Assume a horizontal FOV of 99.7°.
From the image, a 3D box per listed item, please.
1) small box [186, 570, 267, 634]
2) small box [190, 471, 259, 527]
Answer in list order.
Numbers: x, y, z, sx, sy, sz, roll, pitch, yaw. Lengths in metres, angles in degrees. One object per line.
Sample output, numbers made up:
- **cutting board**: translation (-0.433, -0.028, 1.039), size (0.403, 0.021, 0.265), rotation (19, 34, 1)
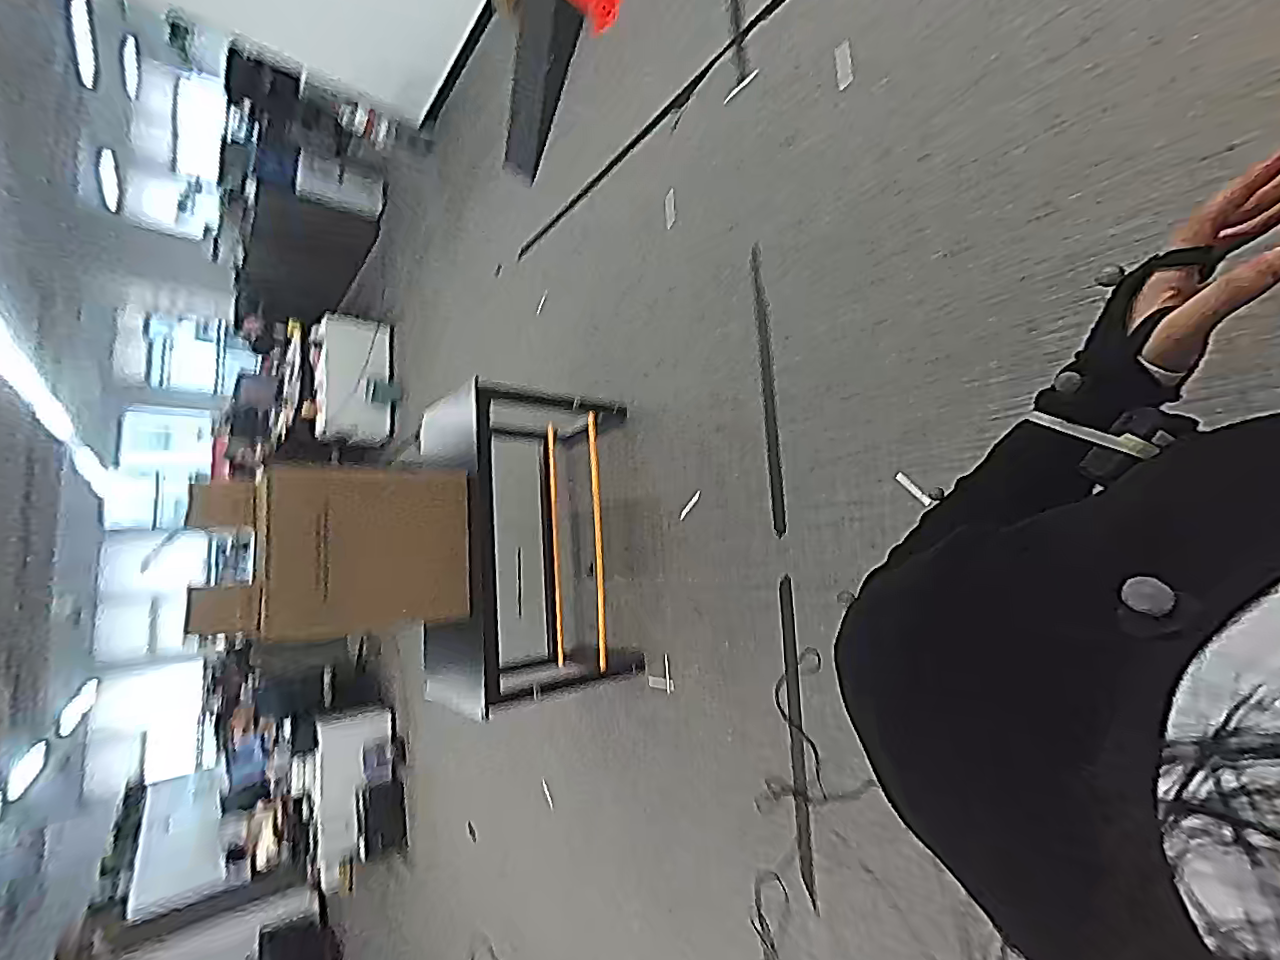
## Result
- **small box**: translation (-1.213, 0.352, 1.584), size (0.179, 0.176, 0.168), rotation (-12, 78, 48)
- **small box**: translation (-1.353, 0.064, 1.764), size (0.179, 0.176, 0.168), rotation (-14, 79, 51)
